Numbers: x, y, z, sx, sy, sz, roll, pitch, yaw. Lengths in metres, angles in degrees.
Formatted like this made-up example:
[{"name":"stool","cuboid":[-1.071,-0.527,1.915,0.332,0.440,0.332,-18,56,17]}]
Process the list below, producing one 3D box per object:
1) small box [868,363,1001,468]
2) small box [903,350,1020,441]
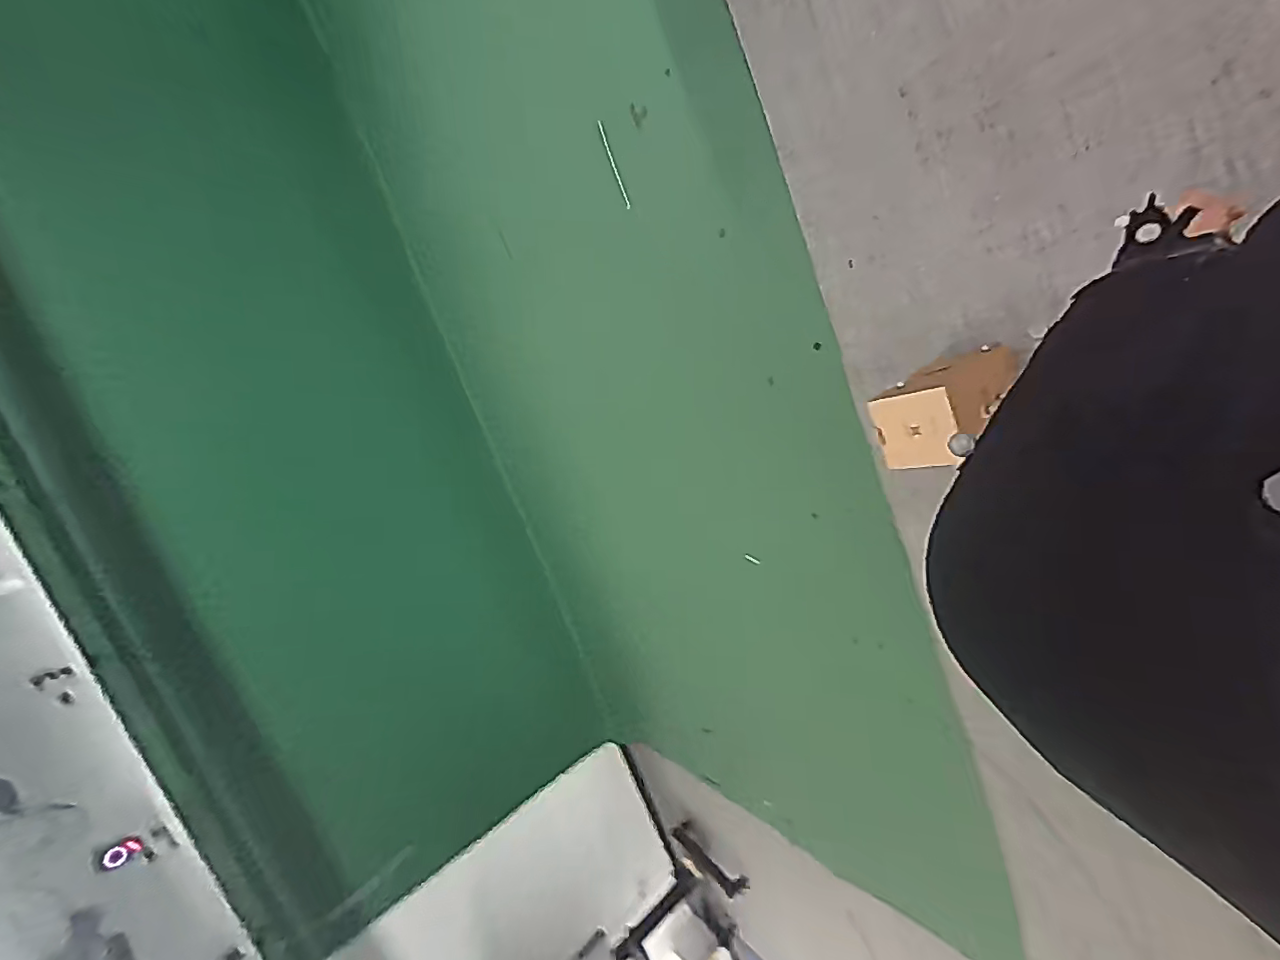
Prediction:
[{"name":"small box","cuboid":[0.637,-0.138,1.172,0.179,0.176,0.168,-9,106,57]},{"name":"small box","cuboid":[0.756,-0.195,1.268,0.168,0.176,0.179,-3,111,57]}]
